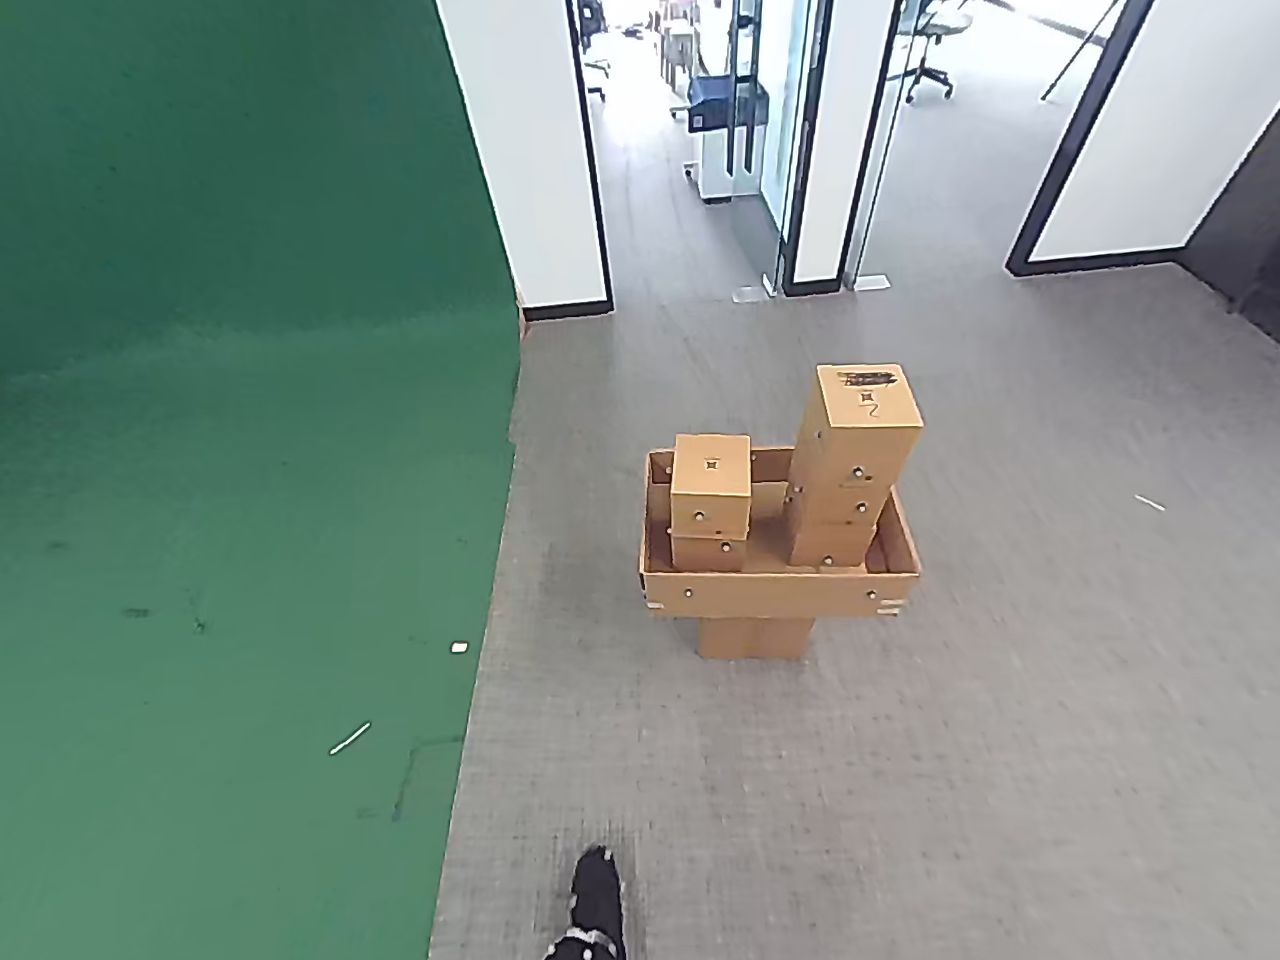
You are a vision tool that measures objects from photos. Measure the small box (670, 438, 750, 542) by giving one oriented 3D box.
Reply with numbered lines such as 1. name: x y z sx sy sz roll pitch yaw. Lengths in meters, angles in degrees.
1. small box: 0.161 0.025 1.215 0.168 0.176 0.179 2 49 8

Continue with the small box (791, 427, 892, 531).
1. small box: 0.439 0.001 1.205 0.168 0.176 0.179 0 49 5
